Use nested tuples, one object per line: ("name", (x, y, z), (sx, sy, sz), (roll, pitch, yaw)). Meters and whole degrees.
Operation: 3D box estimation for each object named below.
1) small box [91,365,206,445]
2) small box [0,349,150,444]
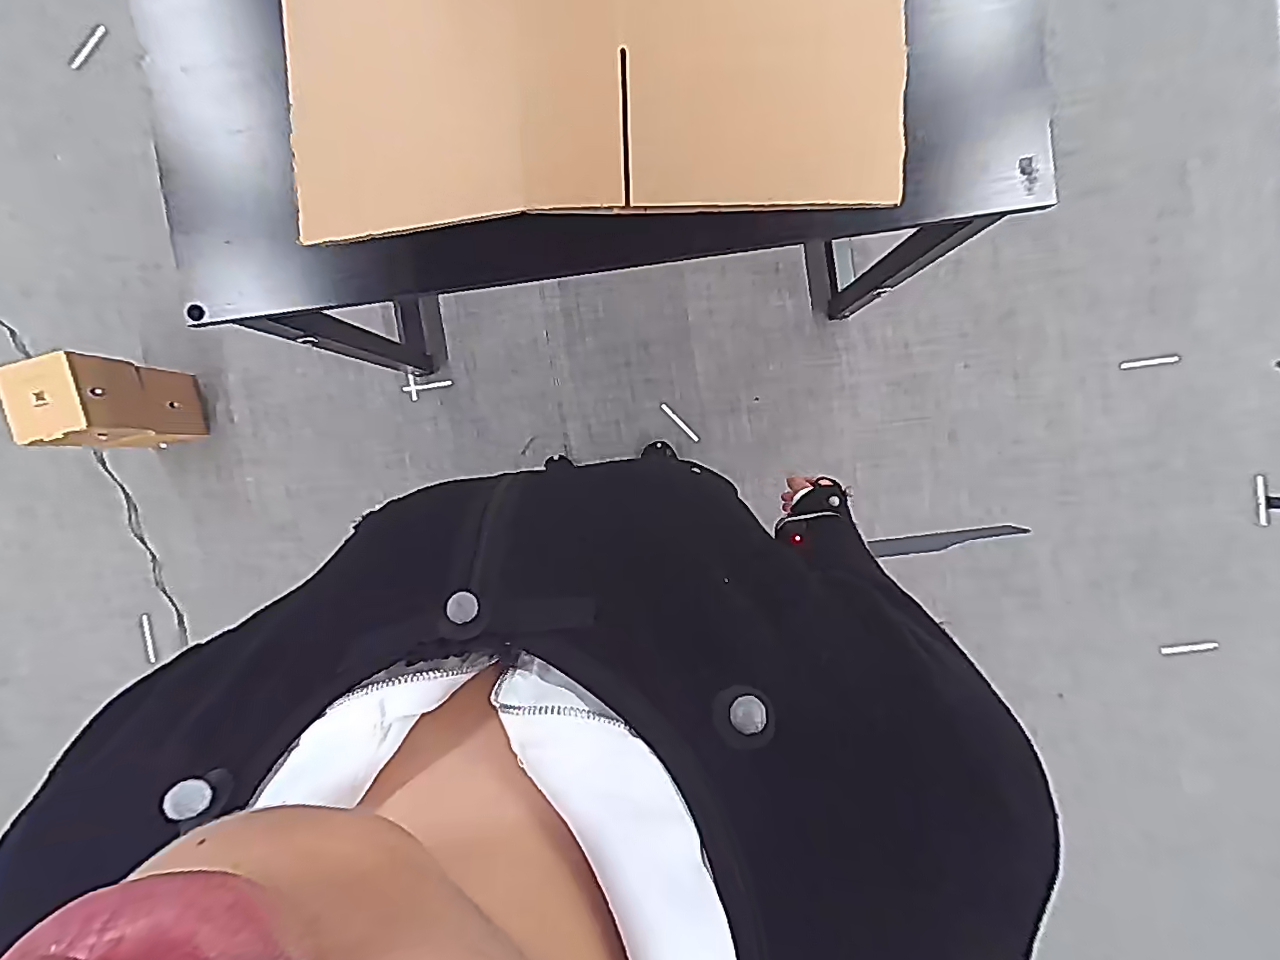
("small box", (-1.294, -0.189, 1.413), (0.168, 0.176, 0.179), (-11, 94, 1))
("small box", (-1.298, -0.185, 1.251), (0.168, 0.176, 0.179), (-14, 92, 0))
